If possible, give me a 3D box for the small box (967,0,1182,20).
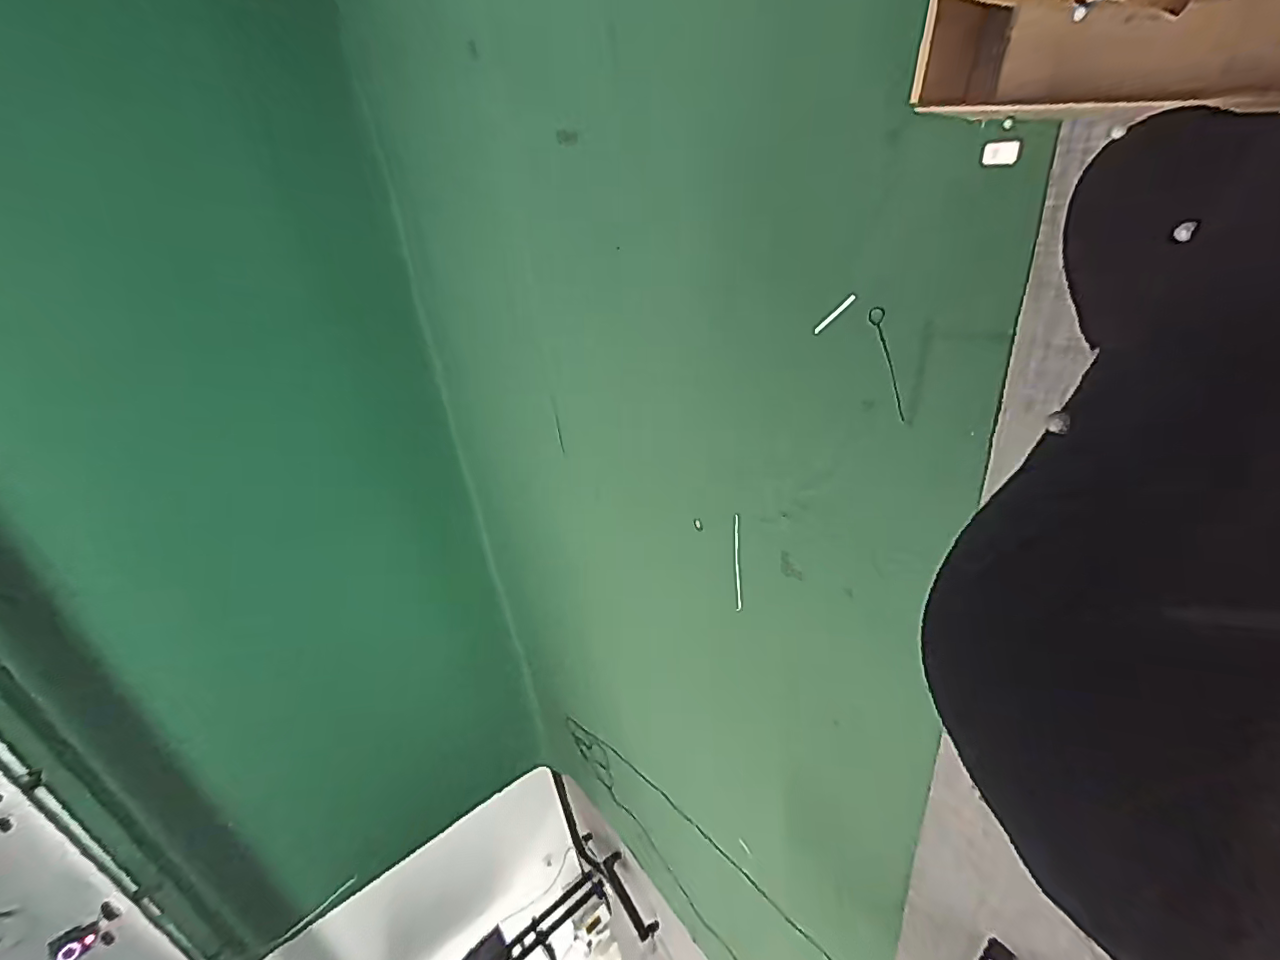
[{"bbox_3d":[0.399,-0.517,0.469,0.179,0.176,0.168,40,141,33],"label":"small box"}]
